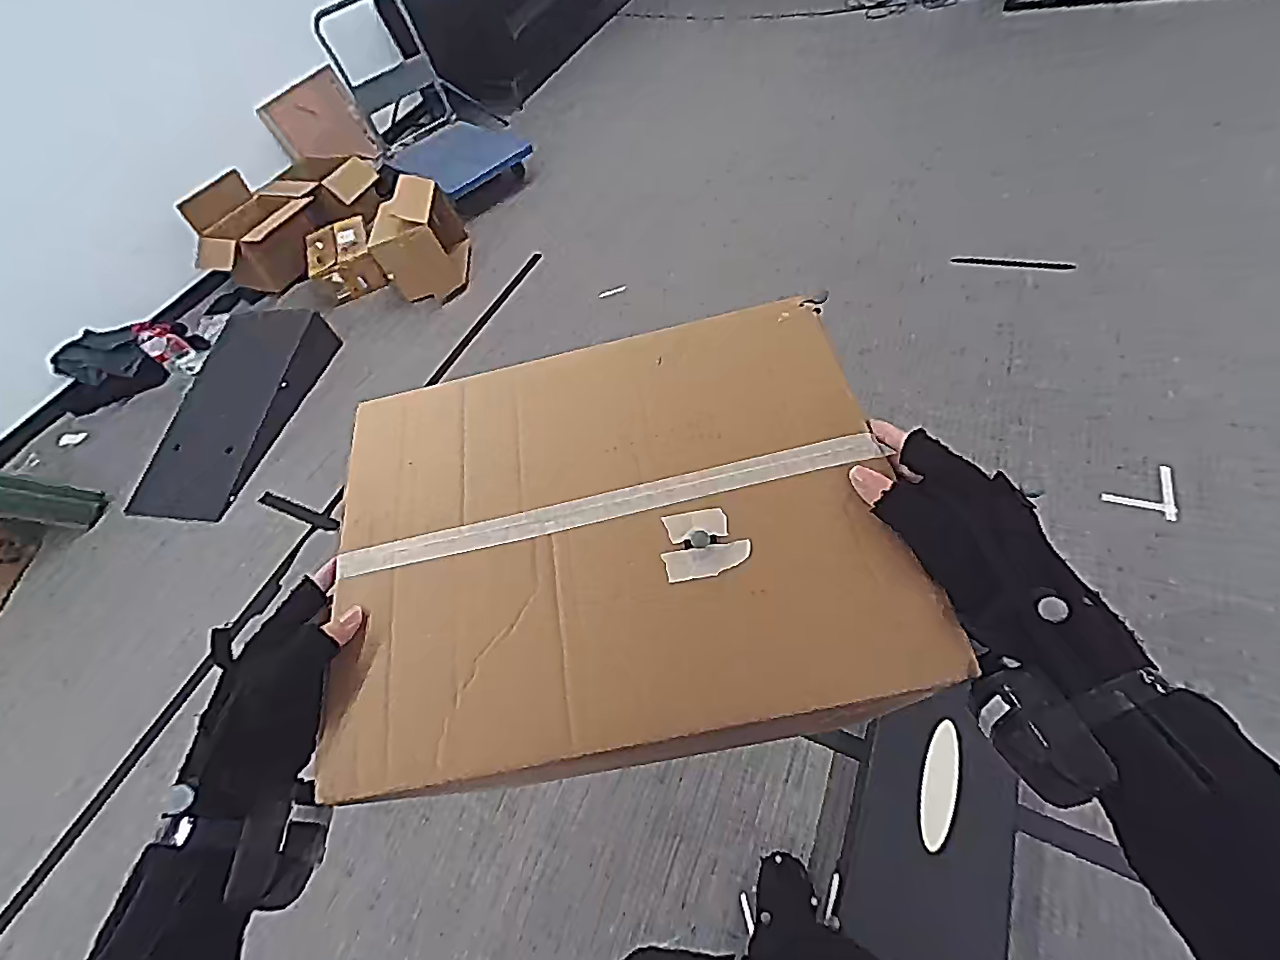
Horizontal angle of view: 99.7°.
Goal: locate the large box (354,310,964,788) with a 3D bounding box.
[{"bbox_3d":[0.004,0.094,0.540,0.408,0.320,0.320,-12,61,3],"label":"large box"}]
